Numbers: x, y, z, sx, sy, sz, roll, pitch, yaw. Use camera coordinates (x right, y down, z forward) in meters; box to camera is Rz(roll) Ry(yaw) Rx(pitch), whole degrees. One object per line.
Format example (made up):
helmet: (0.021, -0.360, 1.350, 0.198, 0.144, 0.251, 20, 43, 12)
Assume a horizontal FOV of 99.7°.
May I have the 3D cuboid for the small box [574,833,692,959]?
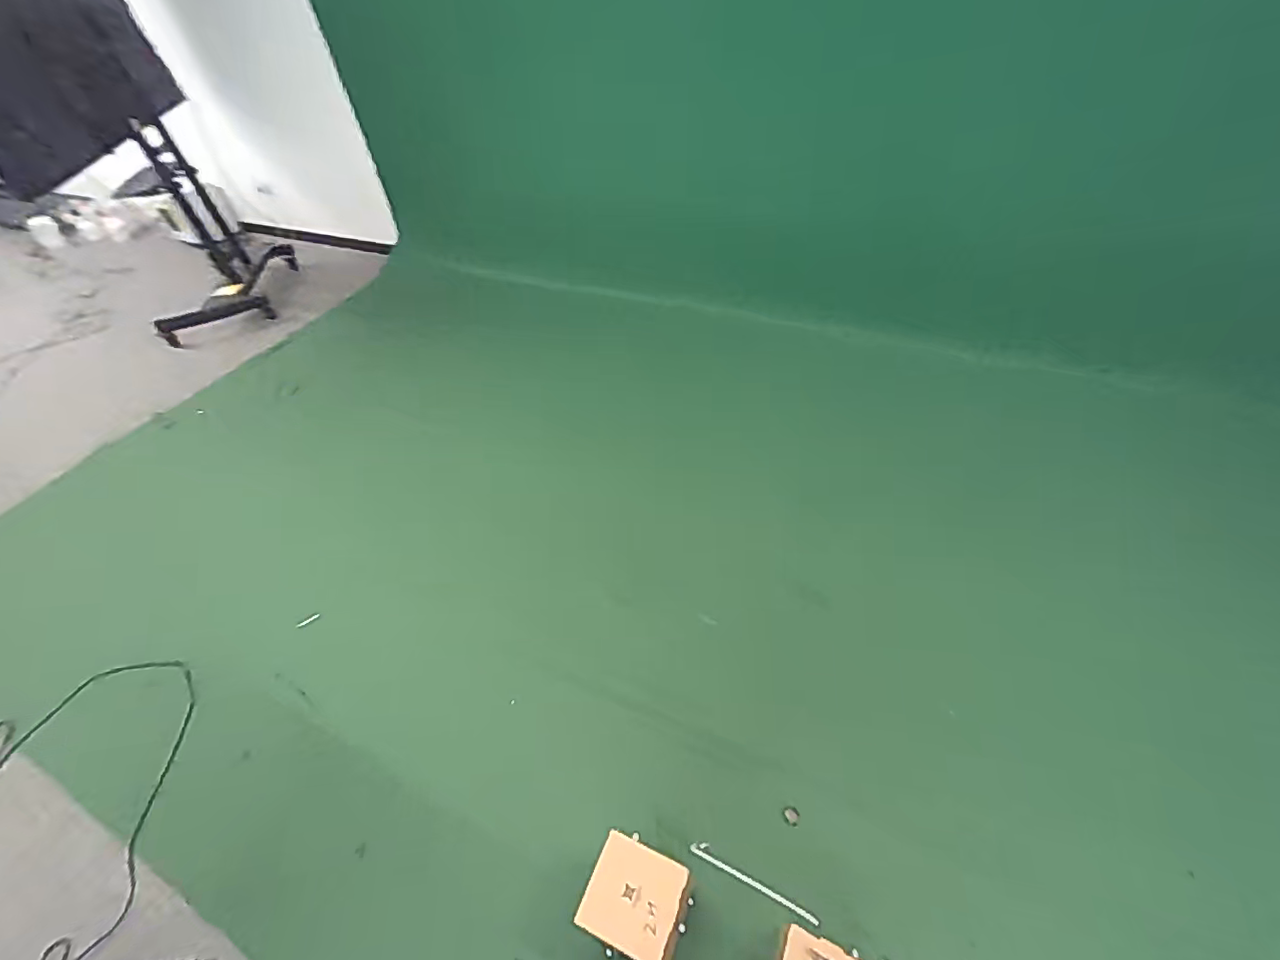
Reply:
small box: (-0.005, 0.848, 1.077, 0.179, 0.176, 0.168, 16, 50, 20)
